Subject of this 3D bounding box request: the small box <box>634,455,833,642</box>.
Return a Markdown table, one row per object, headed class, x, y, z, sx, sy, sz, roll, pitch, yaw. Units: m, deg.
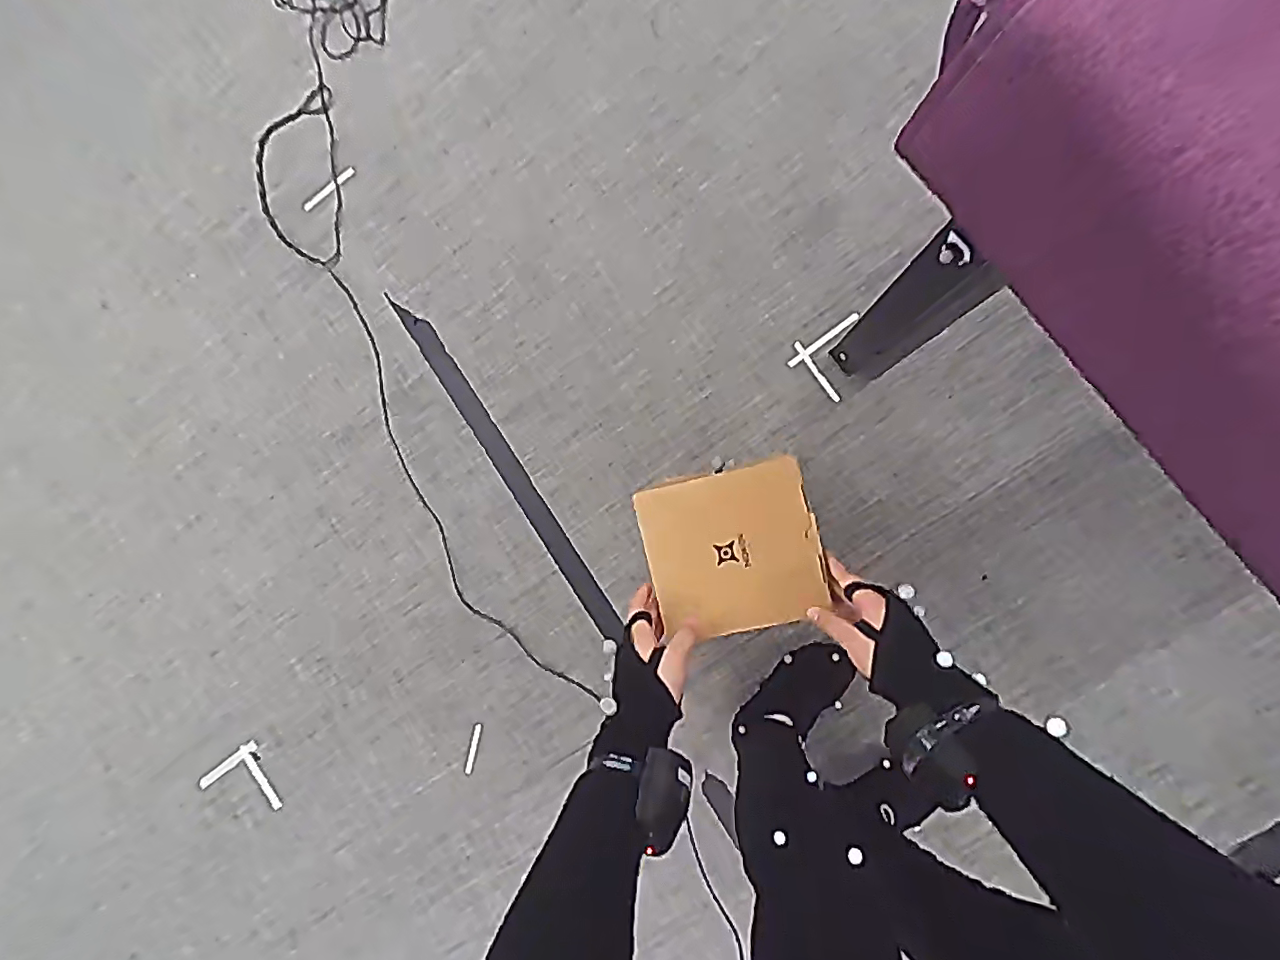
| class | x | y | z | sx | sy | sz | roll | pitch | yaw |
| --- | --- | --- | --- | --- | --- | --- | --- | --- | --- |
| small box | 0.106 | 0.073 | 0.636 | 0.179 | 0.176 | 0.168 | -14 | 89 | 8 |
